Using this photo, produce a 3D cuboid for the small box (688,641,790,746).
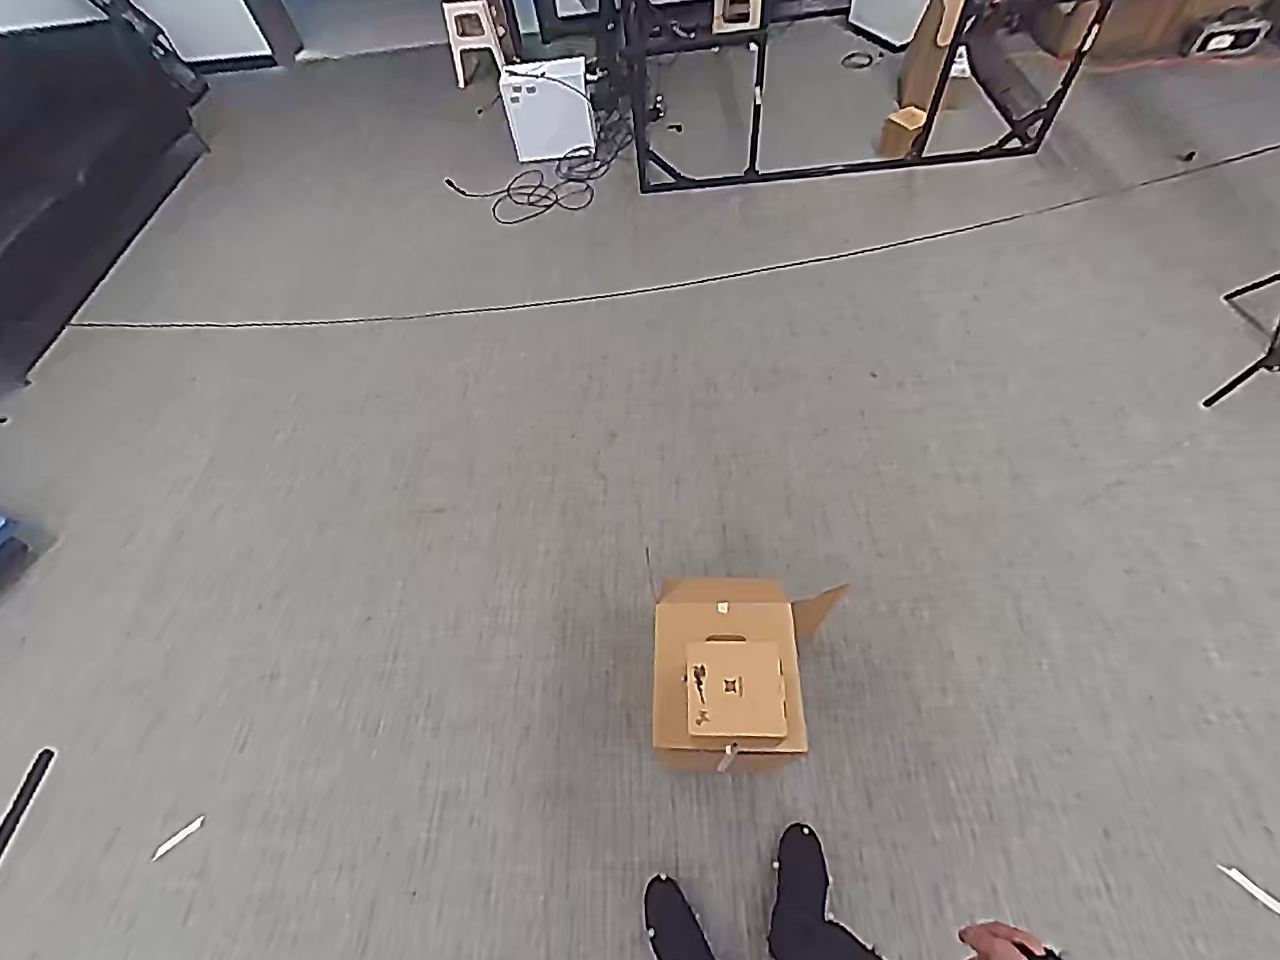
[{"bbox_3d":[0.183,0.416,1.047,0.179,0.176,0.168,-1,59,5],"label":"small box"}]
